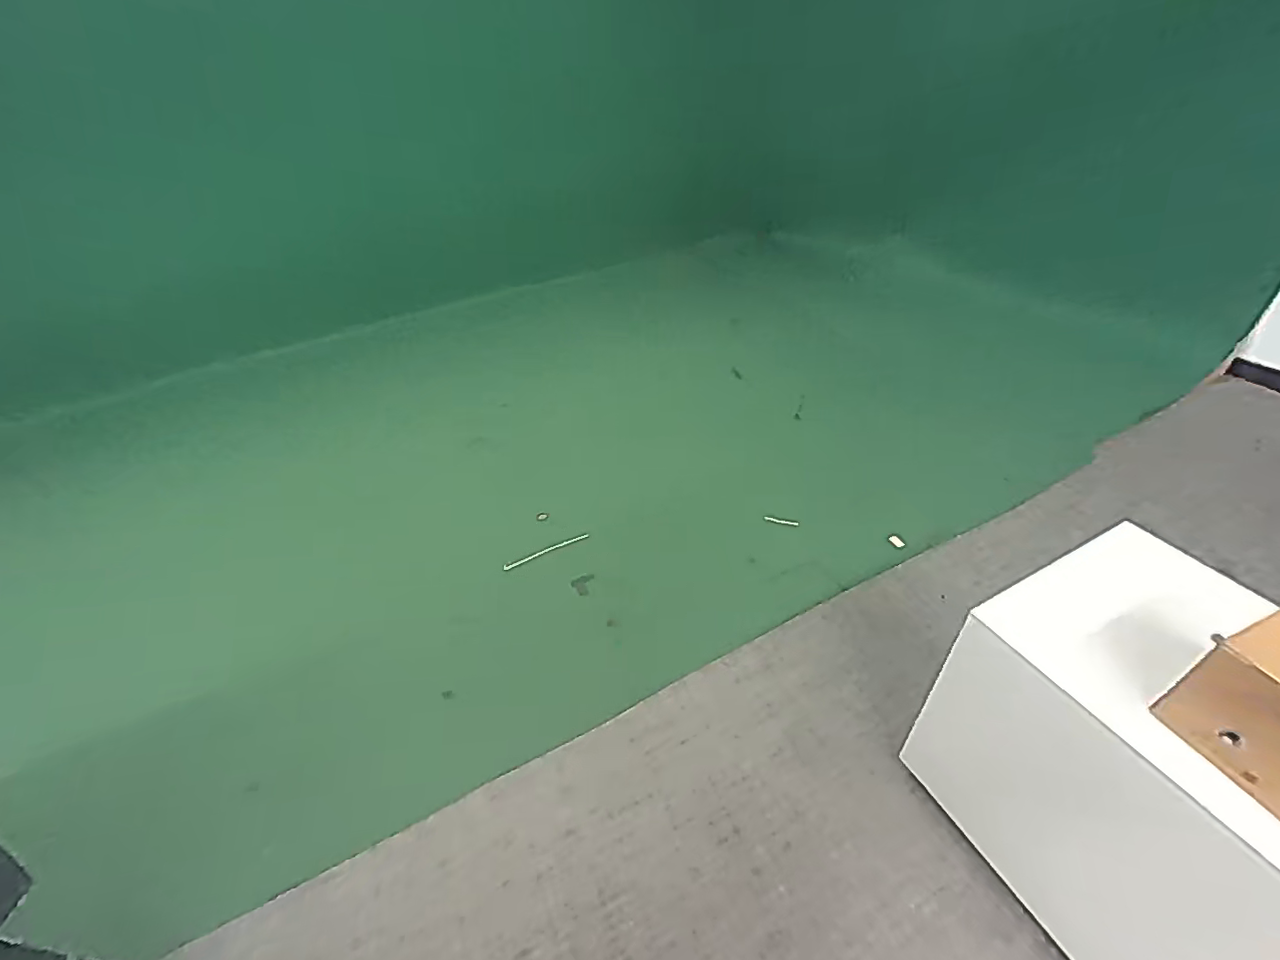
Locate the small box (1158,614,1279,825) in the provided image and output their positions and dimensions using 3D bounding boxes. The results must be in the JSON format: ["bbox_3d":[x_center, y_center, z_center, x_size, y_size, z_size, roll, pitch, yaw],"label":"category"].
[{"bbox_3d":[0.798,0.279,0.651,0.179,0.176,0.168,-19,42,-14],"label":"small box"}]
